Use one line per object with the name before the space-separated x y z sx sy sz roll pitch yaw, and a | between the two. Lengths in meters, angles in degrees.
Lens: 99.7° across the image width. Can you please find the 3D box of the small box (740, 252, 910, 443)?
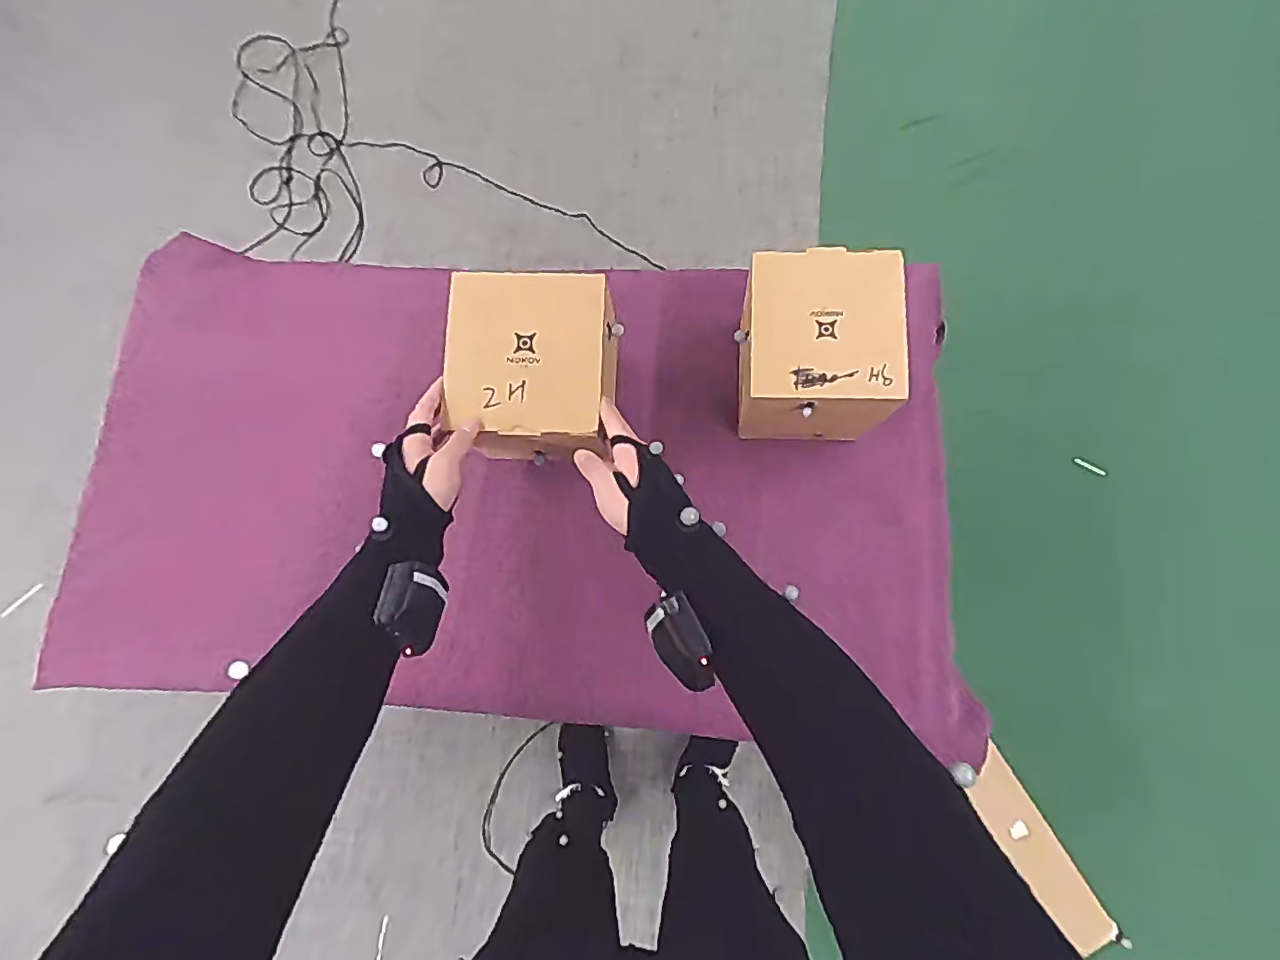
small box | 0.214 -0.155 0.668 0.168 0.176 0.179 2 79 6

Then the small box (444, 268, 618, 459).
small box | -0.116 -0.127 0.644 0.168 0.176 0.179 2 83 3
